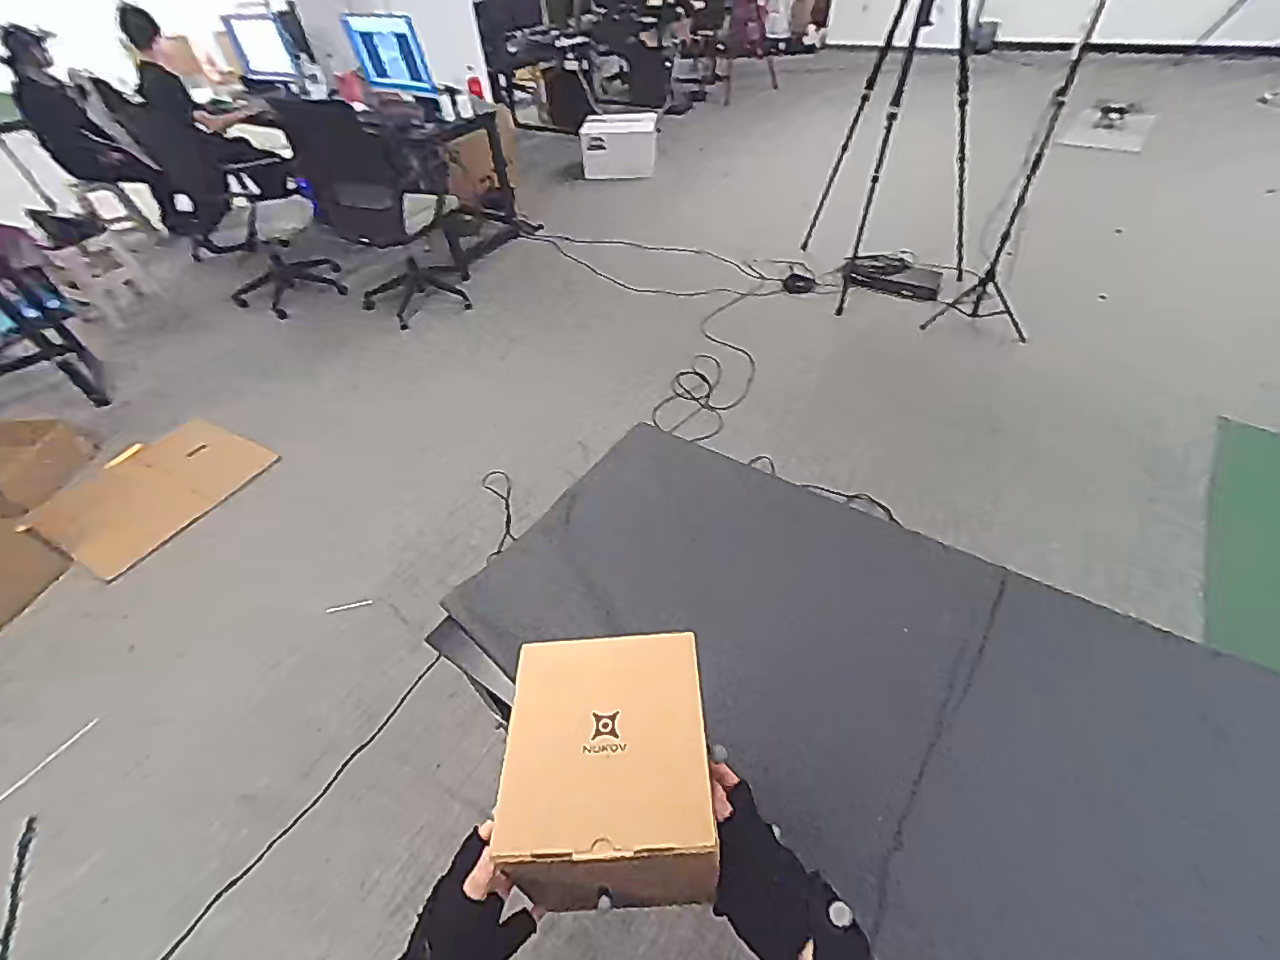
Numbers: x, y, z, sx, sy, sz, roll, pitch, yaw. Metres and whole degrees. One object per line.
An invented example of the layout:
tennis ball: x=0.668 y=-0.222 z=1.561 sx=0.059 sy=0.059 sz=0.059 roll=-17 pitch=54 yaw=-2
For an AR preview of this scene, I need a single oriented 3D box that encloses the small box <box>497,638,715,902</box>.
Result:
small box: x=-0.022 y=0.273 z=0.514 sx=0.168 sy=0.176 sz=0.179 roll=-4 pitch=43 yaw=2
